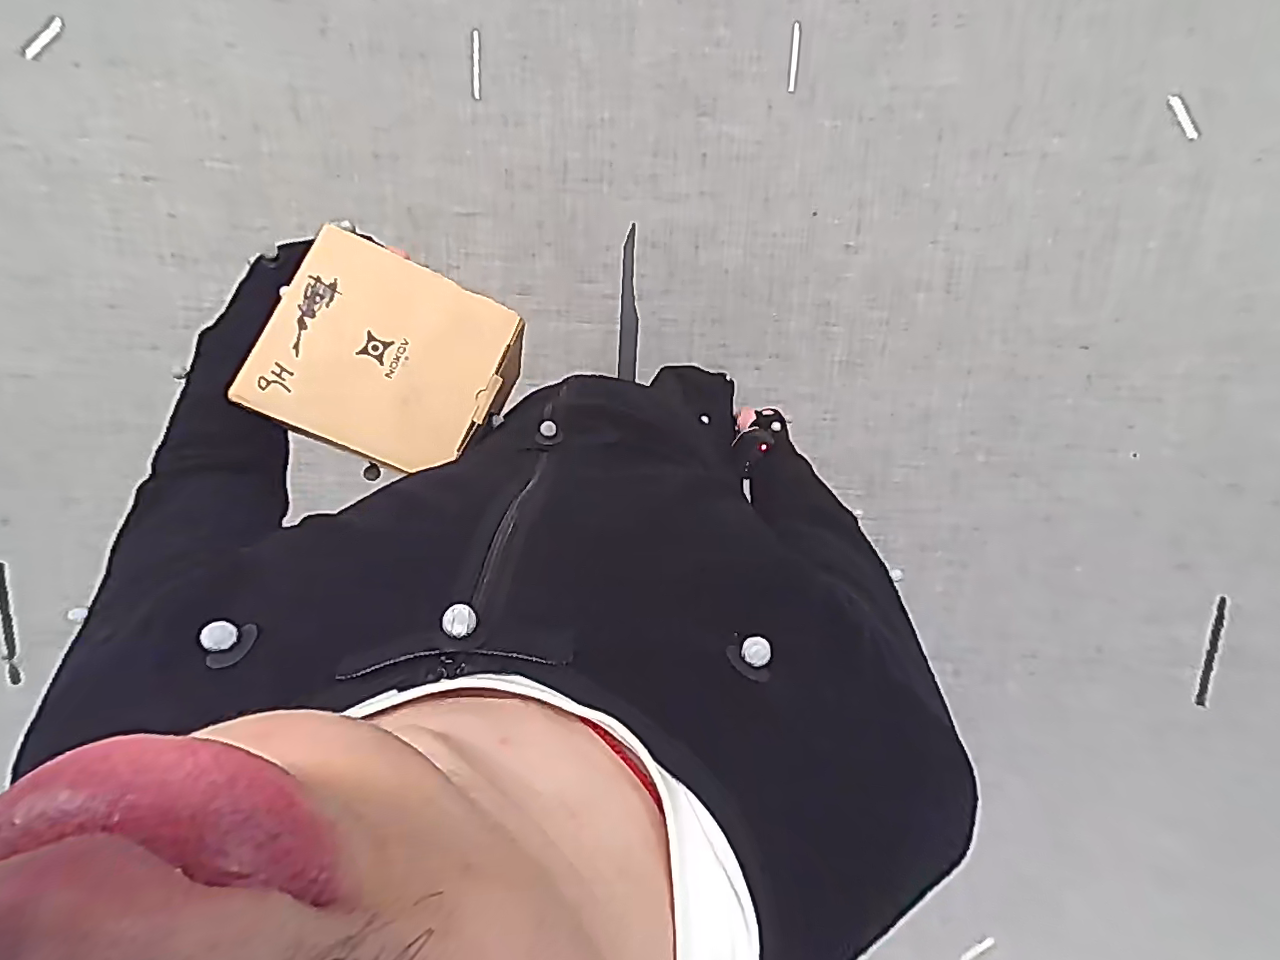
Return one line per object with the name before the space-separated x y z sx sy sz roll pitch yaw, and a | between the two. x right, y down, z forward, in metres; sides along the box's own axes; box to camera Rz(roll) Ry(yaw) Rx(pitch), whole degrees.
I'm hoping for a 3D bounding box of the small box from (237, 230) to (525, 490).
small box | -0.229 -0.096 0.529 0.179 0.176 0.168 24 79 -11
